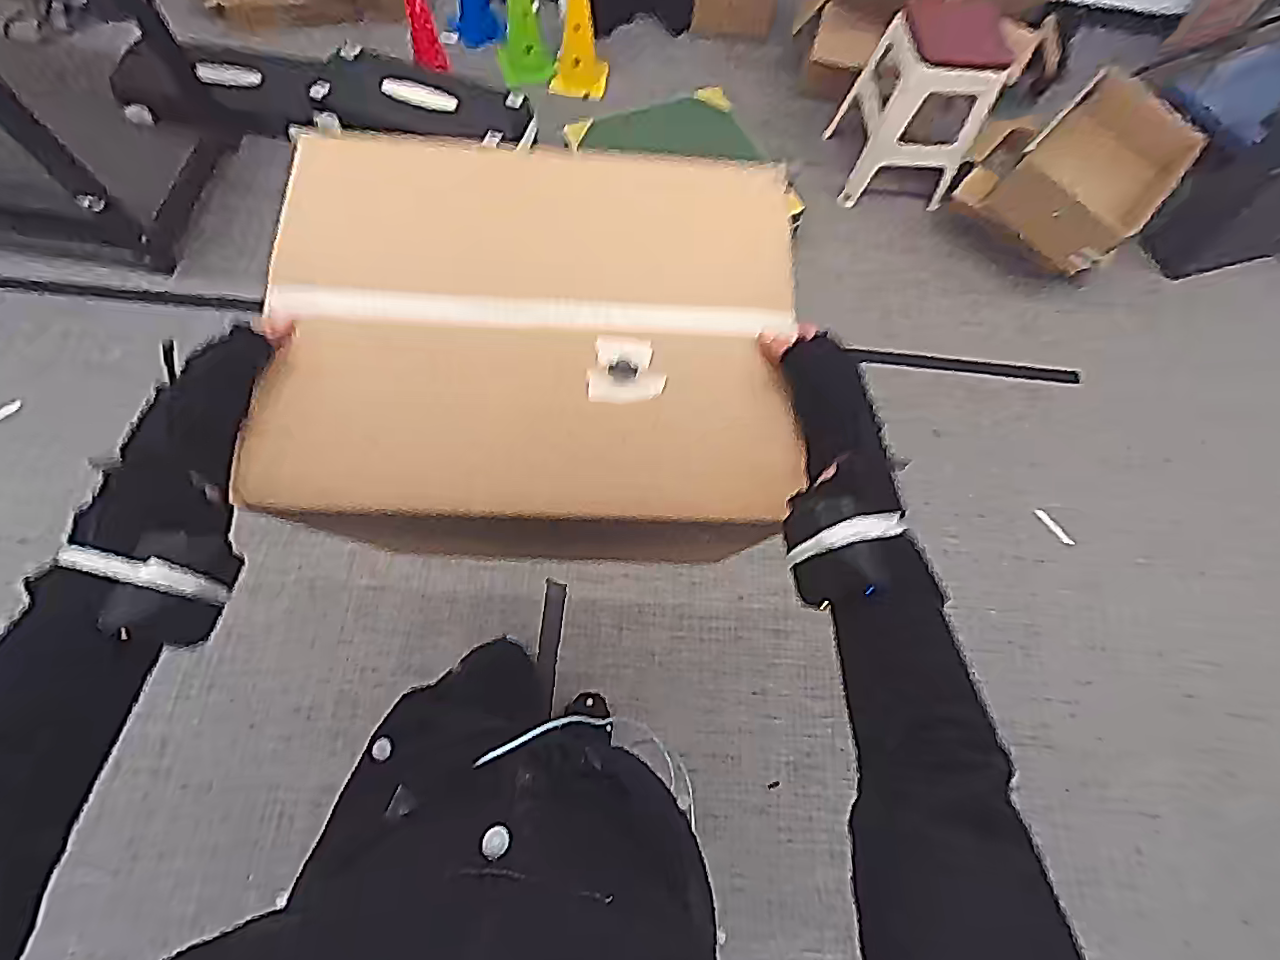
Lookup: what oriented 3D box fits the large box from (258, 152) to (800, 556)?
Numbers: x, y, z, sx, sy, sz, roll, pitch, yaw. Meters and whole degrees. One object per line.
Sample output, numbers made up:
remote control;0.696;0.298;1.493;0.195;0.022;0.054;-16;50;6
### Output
large box;-0.087;-0.089;0.576;0.408;0.320;0.320;2;77;-4
